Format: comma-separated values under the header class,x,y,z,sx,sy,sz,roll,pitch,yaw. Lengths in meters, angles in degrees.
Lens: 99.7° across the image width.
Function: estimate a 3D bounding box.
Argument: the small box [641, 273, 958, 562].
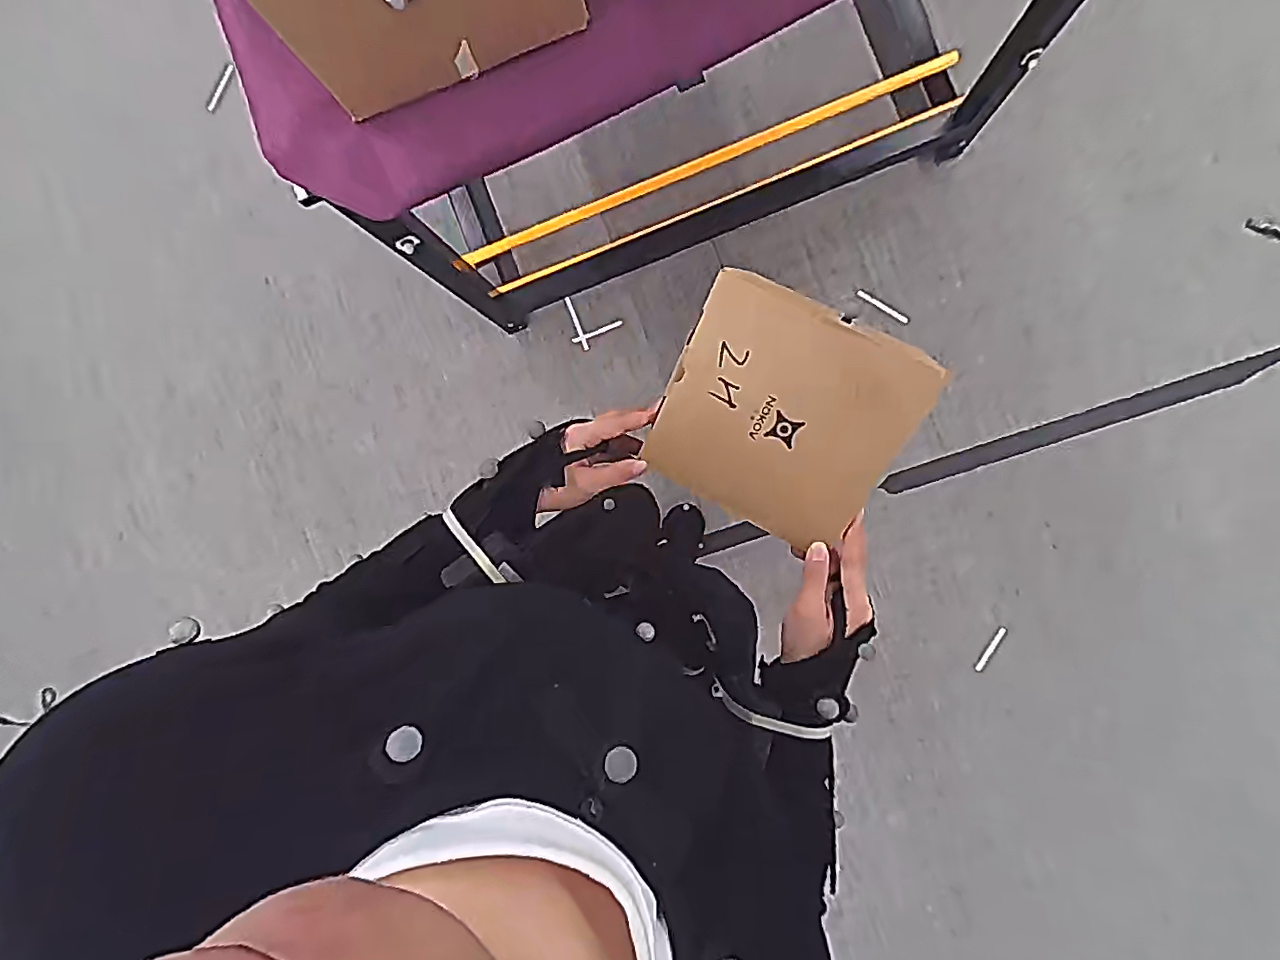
class,x,y,z,sx,sy,sz,roll,pitch,yaw
small box,0.131,-0.066,0.472,0.179,0.176,0.168,29,115,9
